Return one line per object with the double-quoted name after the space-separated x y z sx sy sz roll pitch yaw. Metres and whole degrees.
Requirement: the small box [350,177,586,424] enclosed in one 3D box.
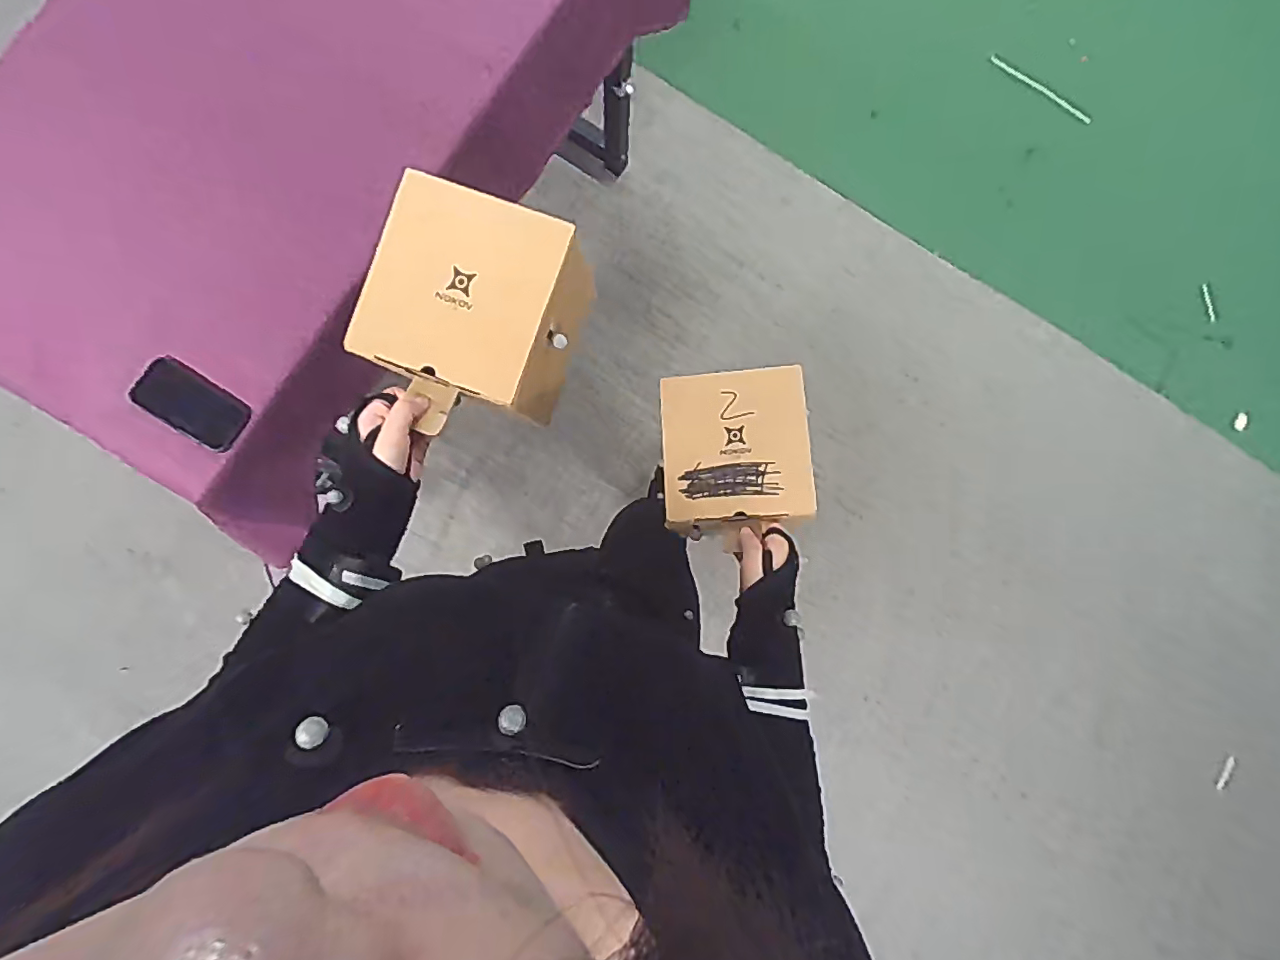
-0.163 -0.173 0.577 0.168 0.176 0.179 19 90 2 "small box"
